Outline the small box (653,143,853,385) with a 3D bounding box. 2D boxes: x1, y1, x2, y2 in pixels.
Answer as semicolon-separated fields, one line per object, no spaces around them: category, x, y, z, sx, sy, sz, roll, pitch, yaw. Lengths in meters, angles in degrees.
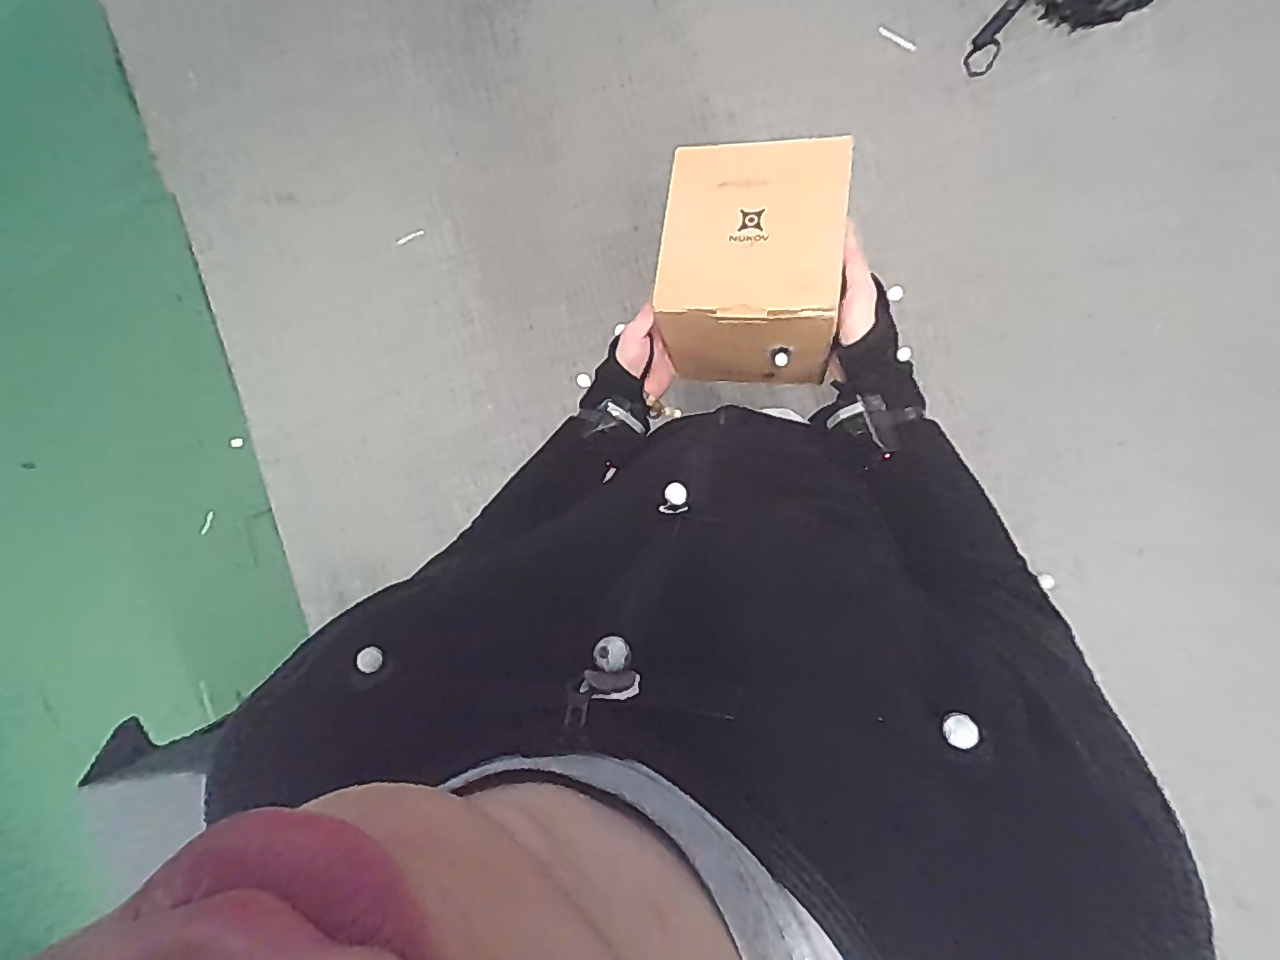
small box;0.120;-0.211;0.568;0.168;0.176;0.179;6;77;14
